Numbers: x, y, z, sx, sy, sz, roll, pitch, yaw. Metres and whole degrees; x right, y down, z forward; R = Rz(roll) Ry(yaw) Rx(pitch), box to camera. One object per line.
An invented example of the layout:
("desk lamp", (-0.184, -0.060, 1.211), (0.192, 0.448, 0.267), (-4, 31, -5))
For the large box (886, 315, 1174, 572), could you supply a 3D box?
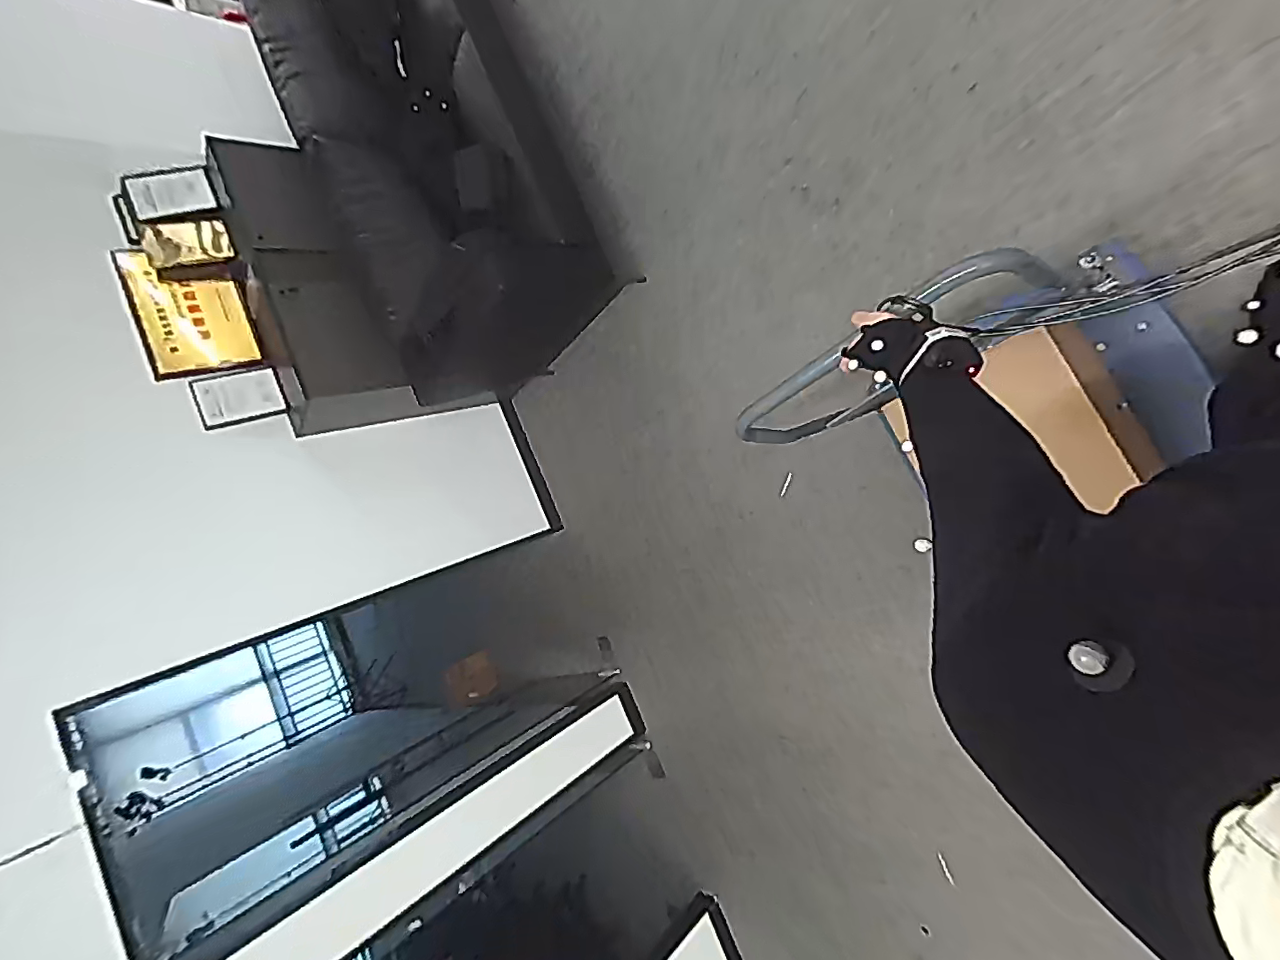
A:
("large box", (0.796, -0.082, 1.115), (0.320, 0.320, 0.408), (-34, 79, 47))
